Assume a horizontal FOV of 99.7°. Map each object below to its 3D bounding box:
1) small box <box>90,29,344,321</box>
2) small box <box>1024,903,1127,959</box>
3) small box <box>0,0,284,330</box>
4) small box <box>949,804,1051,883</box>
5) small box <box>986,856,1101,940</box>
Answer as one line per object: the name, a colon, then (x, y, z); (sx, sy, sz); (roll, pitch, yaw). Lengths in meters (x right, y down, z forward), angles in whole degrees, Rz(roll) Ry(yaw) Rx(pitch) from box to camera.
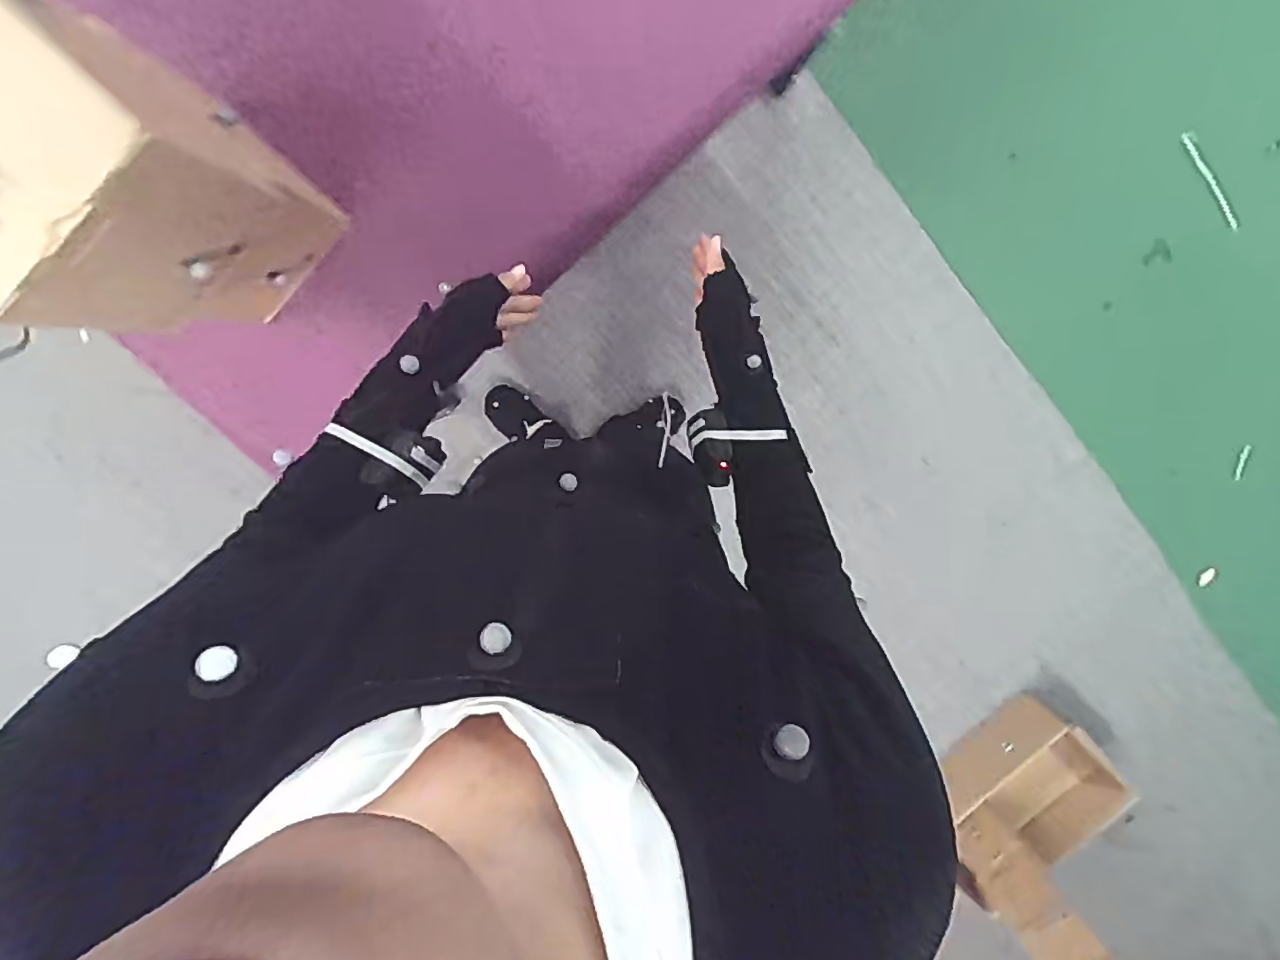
small box: (-0.453, -0.280, 0.552); (0.179, 0.176, 0.168); (42, 96, -13)
small box: (1.159, 1.256, 1.408); (0.168, 0.176, 0.179); (-45, 102, 5)
small box: (-0.423, -0.226, 0.397); (0.168, 0.176, 0.179); (-45, 104, 6)
small box: (1.141, 1.183, 1.728); (0.179, 0.176, 0.168); (39, 94, -12)
small box: (1.149, 1.232, 1.552); (0.179, 0.176, 0.168); (43, 95, -12)
